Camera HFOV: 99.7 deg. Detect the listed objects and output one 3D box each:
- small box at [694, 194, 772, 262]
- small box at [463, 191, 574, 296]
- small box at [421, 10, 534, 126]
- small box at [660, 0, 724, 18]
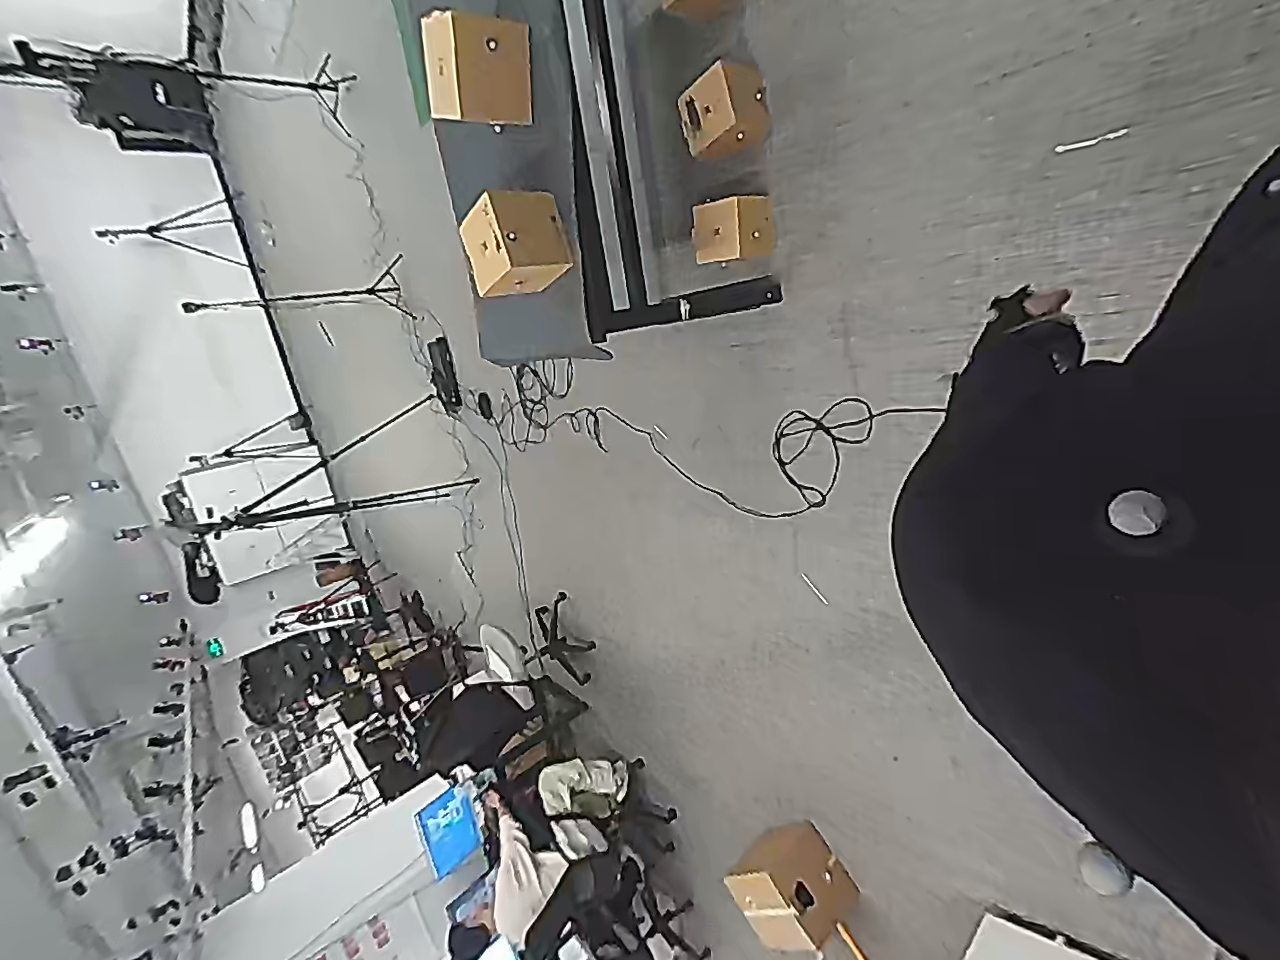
[{"bbox_3d":[0.289,-0.768,1.649,0.179,0.176,0.168,15,120,48],"label":"small box"},{"bbox_3d":[-0.278,-0.540,1.247,0.179,0.176,0.168,-10,100,53],"label":"small box"},{"bbox_3d":[-0.341,-0.869,1.154,0.168,0.176,0.179,35,135,40],"label":"small box"},{"bbox_3d":[0.158,-1.411,1.469,0.179,0.176,0.168,3,110,51],"label":"small box"}]
